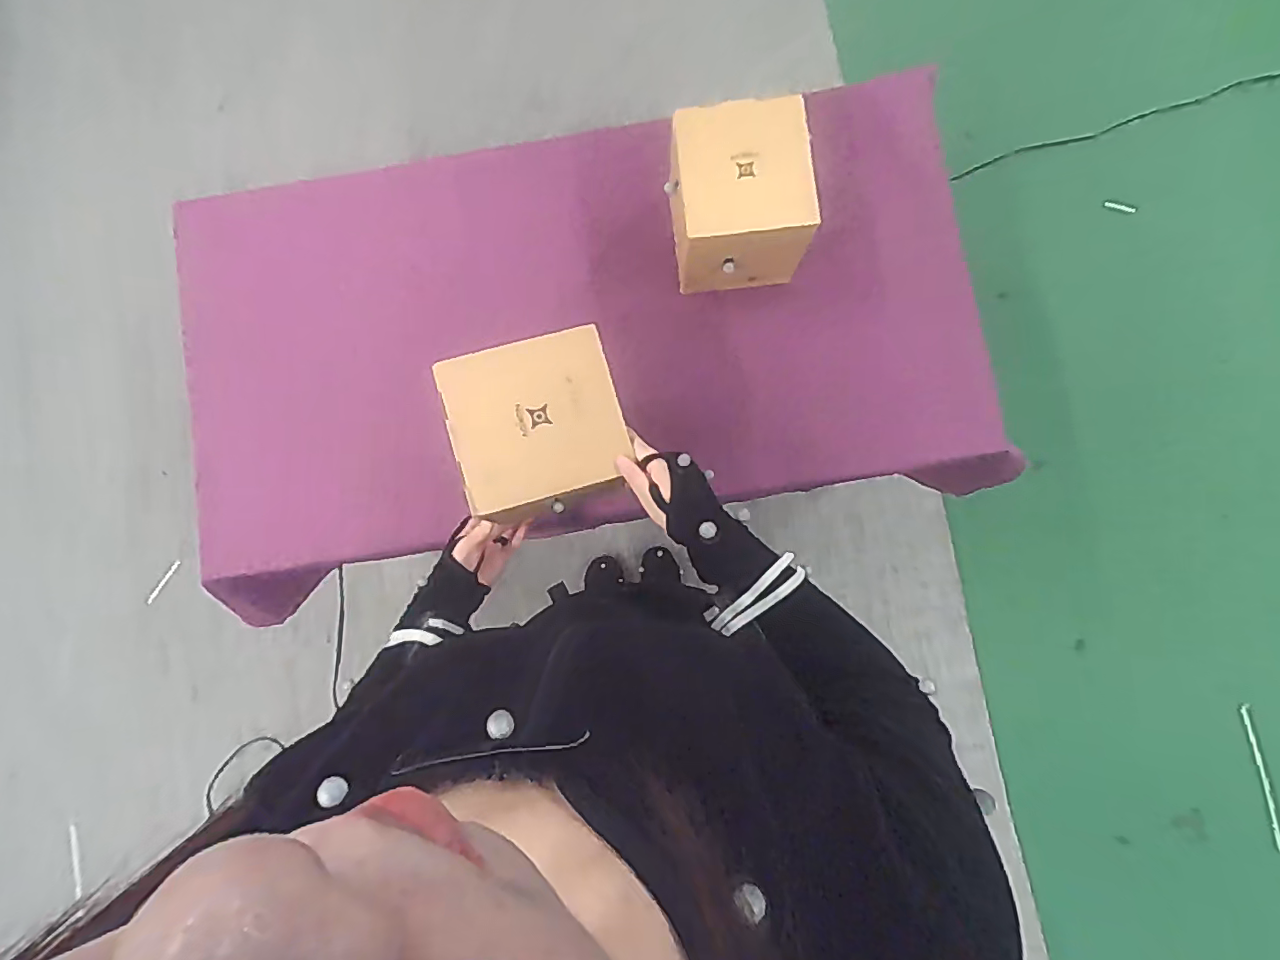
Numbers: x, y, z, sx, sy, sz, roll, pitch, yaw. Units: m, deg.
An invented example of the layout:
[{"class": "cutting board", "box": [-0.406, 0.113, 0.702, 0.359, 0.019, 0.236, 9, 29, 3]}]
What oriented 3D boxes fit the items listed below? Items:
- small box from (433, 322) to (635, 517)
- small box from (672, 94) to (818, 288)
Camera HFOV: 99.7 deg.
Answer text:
[{"class": "small box", "box": [-0.113, -0.057, 0.628, 0.179, 0.176, 0.168, -15, 85, -7]}, {"class": "small box", "box": [0.134, -0.382, 0.750, 0.168, 0.176, 0.179, -6, 84, 2]}]
